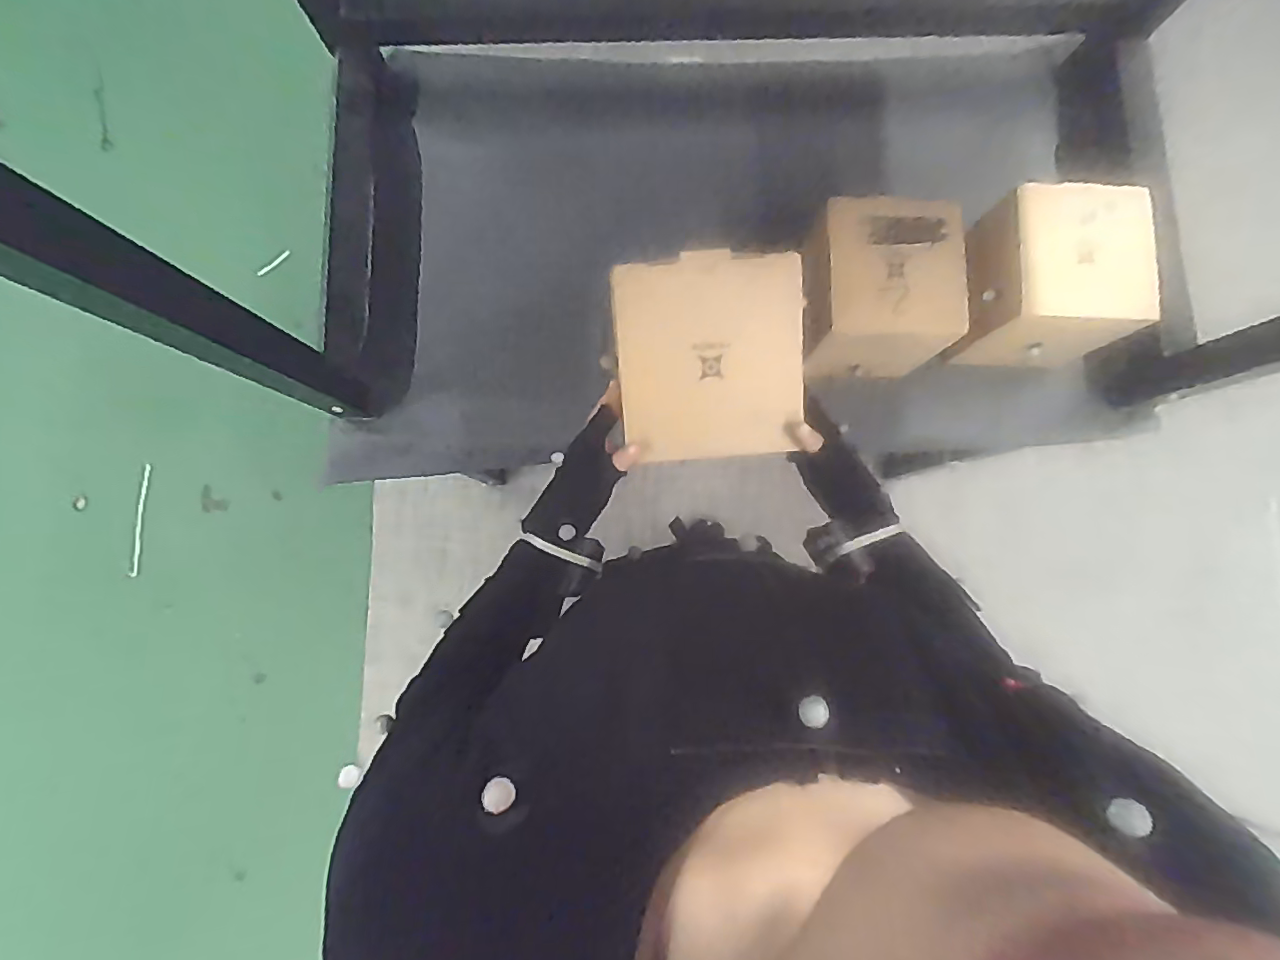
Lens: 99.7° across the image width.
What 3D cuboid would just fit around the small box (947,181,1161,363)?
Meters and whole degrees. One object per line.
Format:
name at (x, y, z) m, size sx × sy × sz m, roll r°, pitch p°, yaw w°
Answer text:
small box at (0.542, -0.269, 0.733) m, size 0.168 × 0.176 × 0.179 m, roll 3°, pitch 82°, yaw 1°
